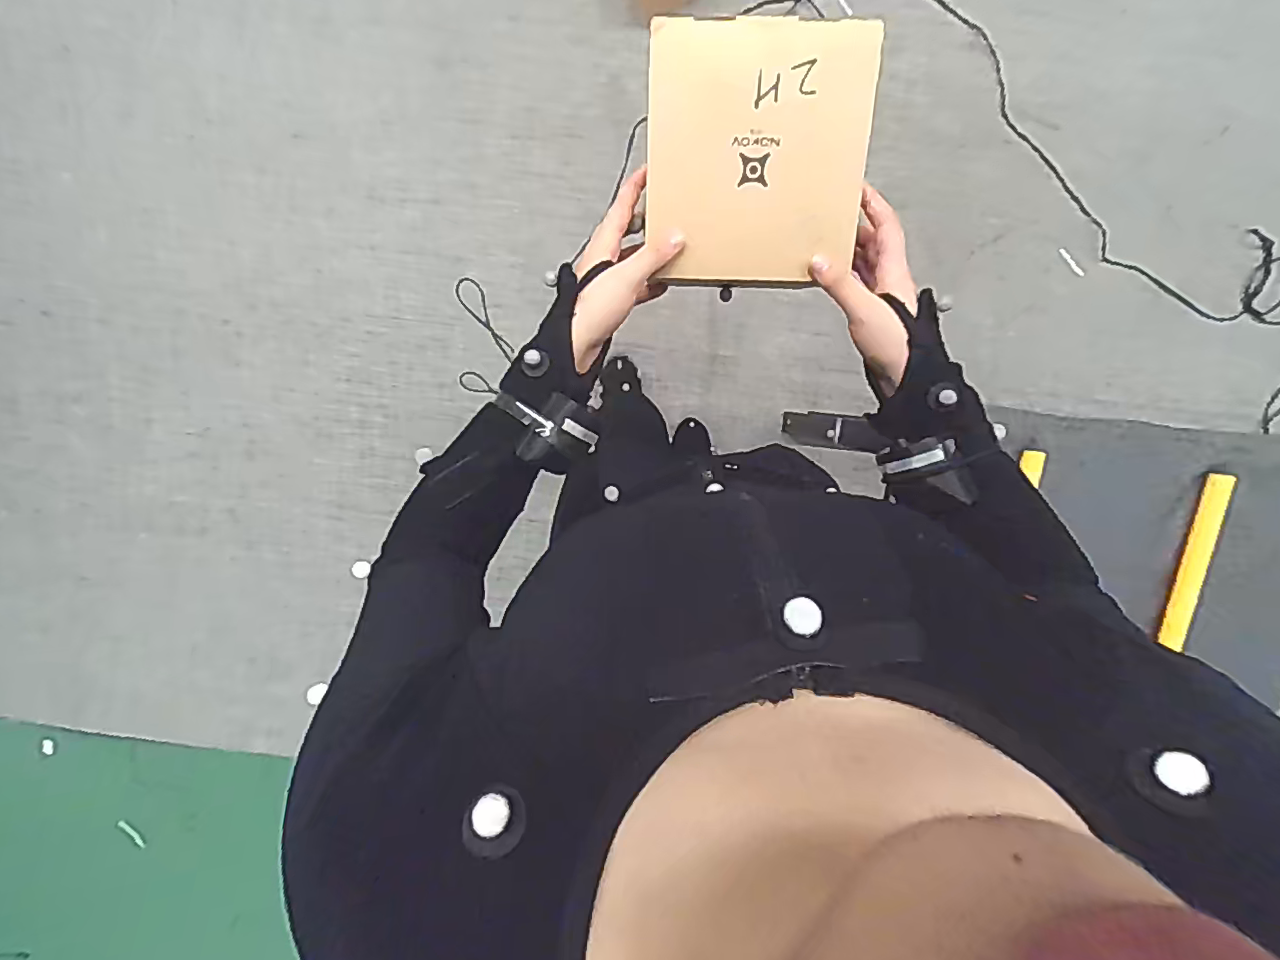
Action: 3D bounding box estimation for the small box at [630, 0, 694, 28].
[{"bbox_3d":[0.043,-1.185,1.215,0.179,0.176,0.168,-28,97,6],"label":"small box"}]
